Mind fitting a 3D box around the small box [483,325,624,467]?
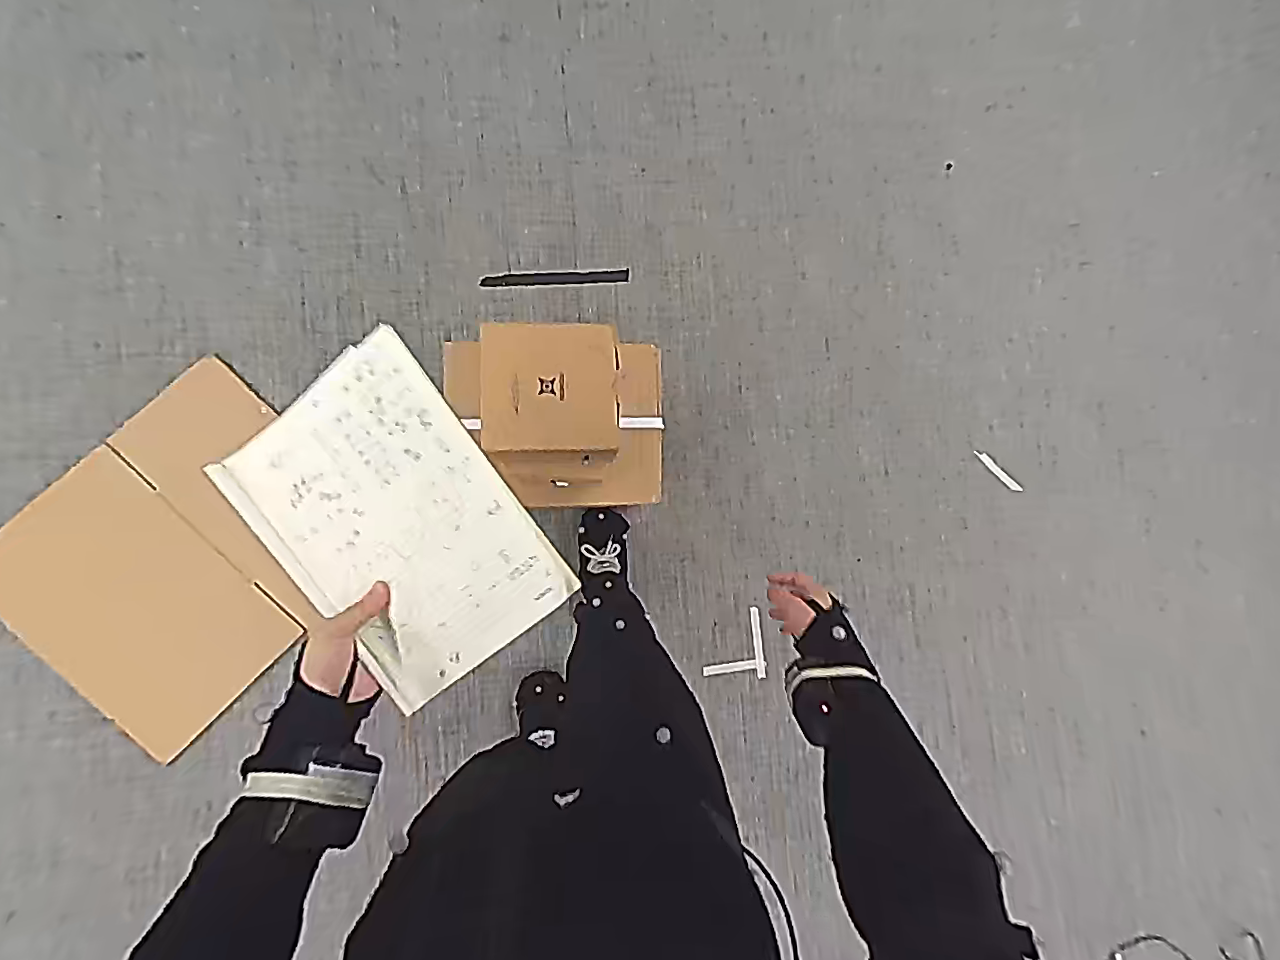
[{"bbox_3d":[-0.118,-0.110,0.764,0.179,0.176,0.168,-2,85,-5],"label":"small box"}]
